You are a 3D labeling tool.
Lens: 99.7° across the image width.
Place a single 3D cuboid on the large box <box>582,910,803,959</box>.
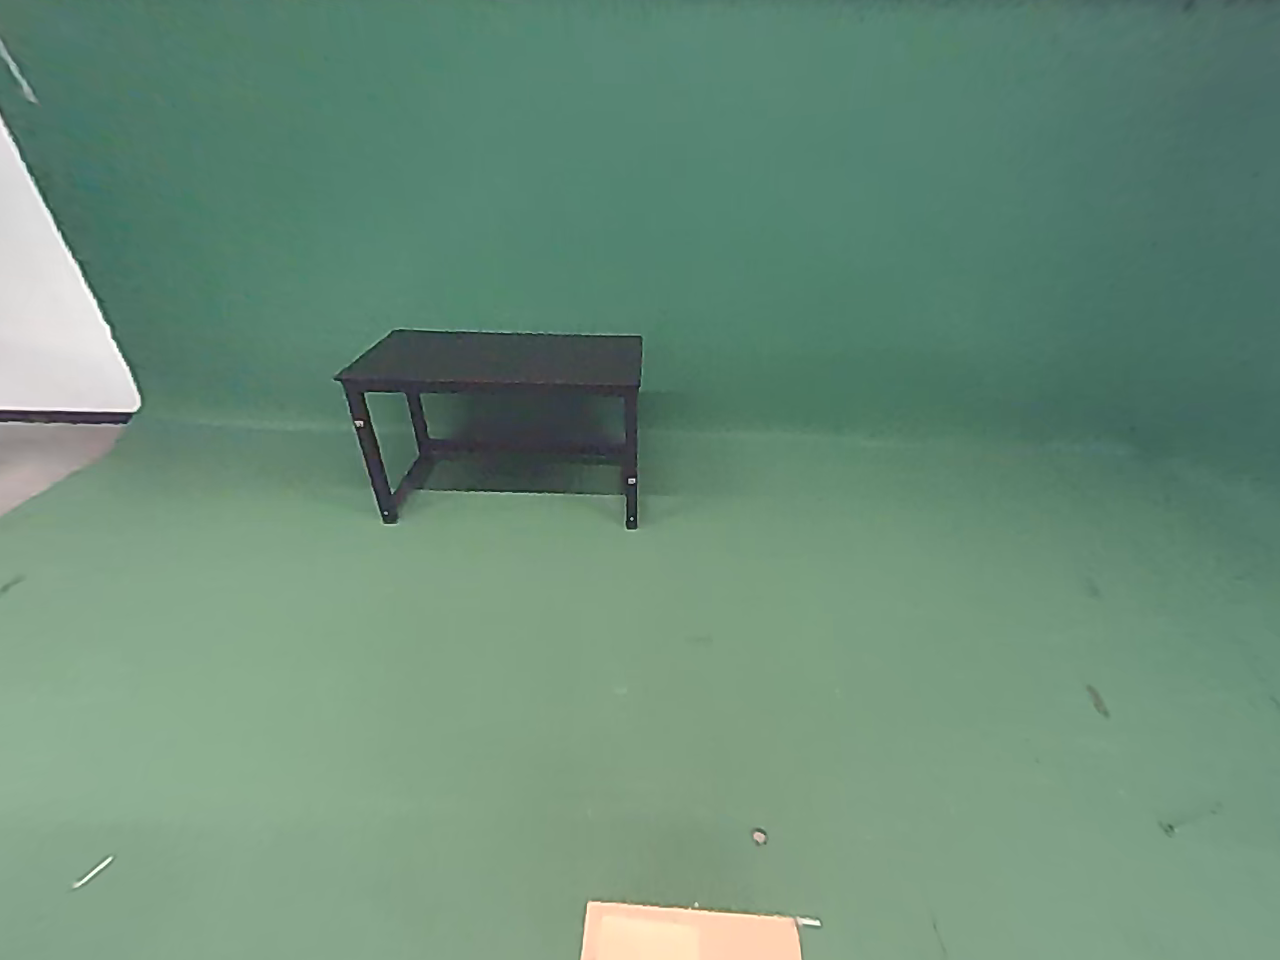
[{"bbox_3d":[0.087,1.034,0.972,0.408,0.320,0.320,3,33,2],"label":"large box"}]
